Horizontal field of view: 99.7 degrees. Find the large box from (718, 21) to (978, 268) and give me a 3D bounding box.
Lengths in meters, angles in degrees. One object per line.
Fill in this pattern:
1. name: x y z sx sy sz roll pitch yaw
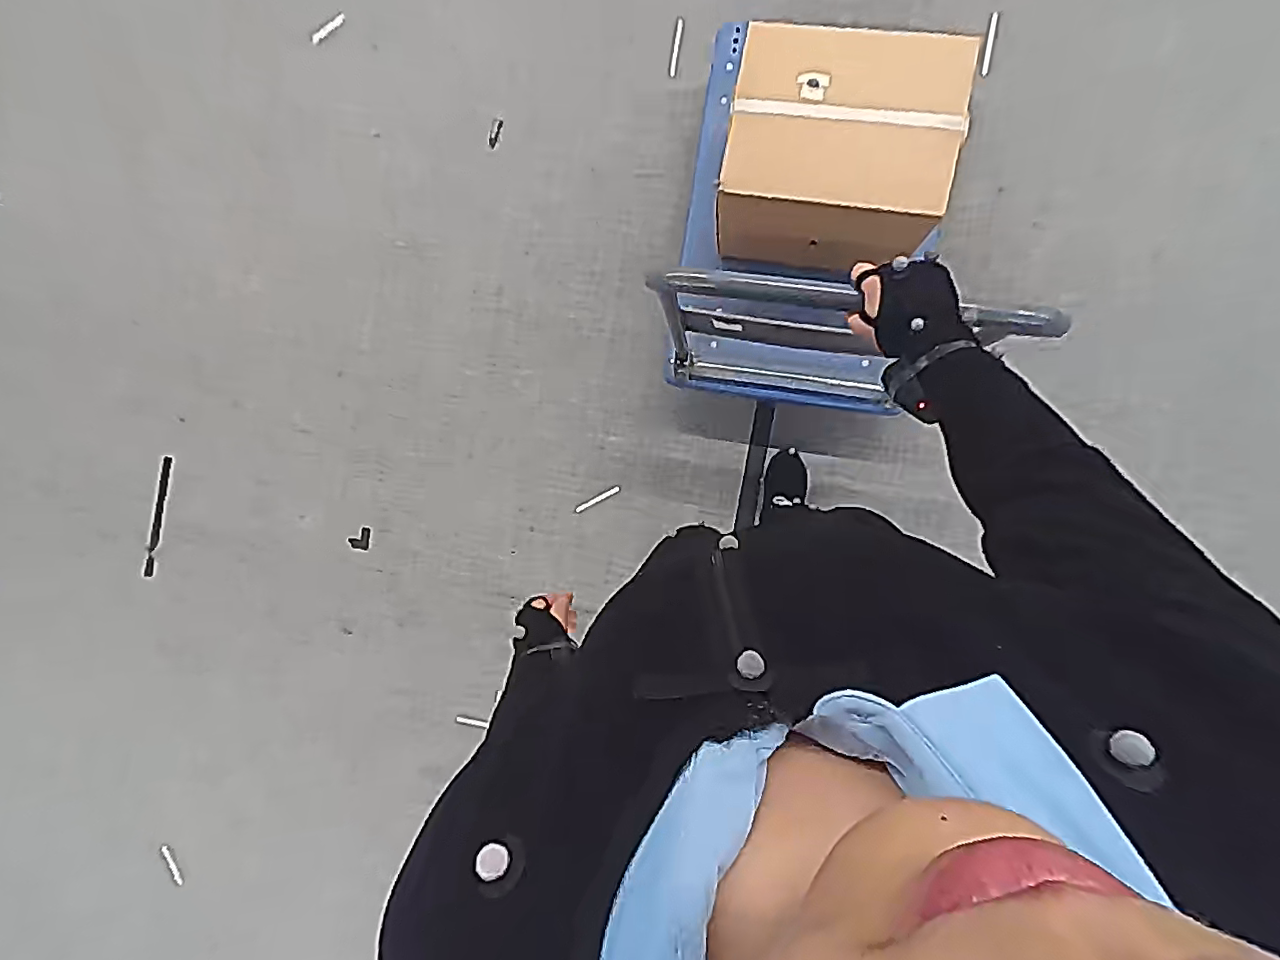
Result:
1. large box: 0.387 -0.655 1.103 0.408 0.320 0.320 11 92 10
